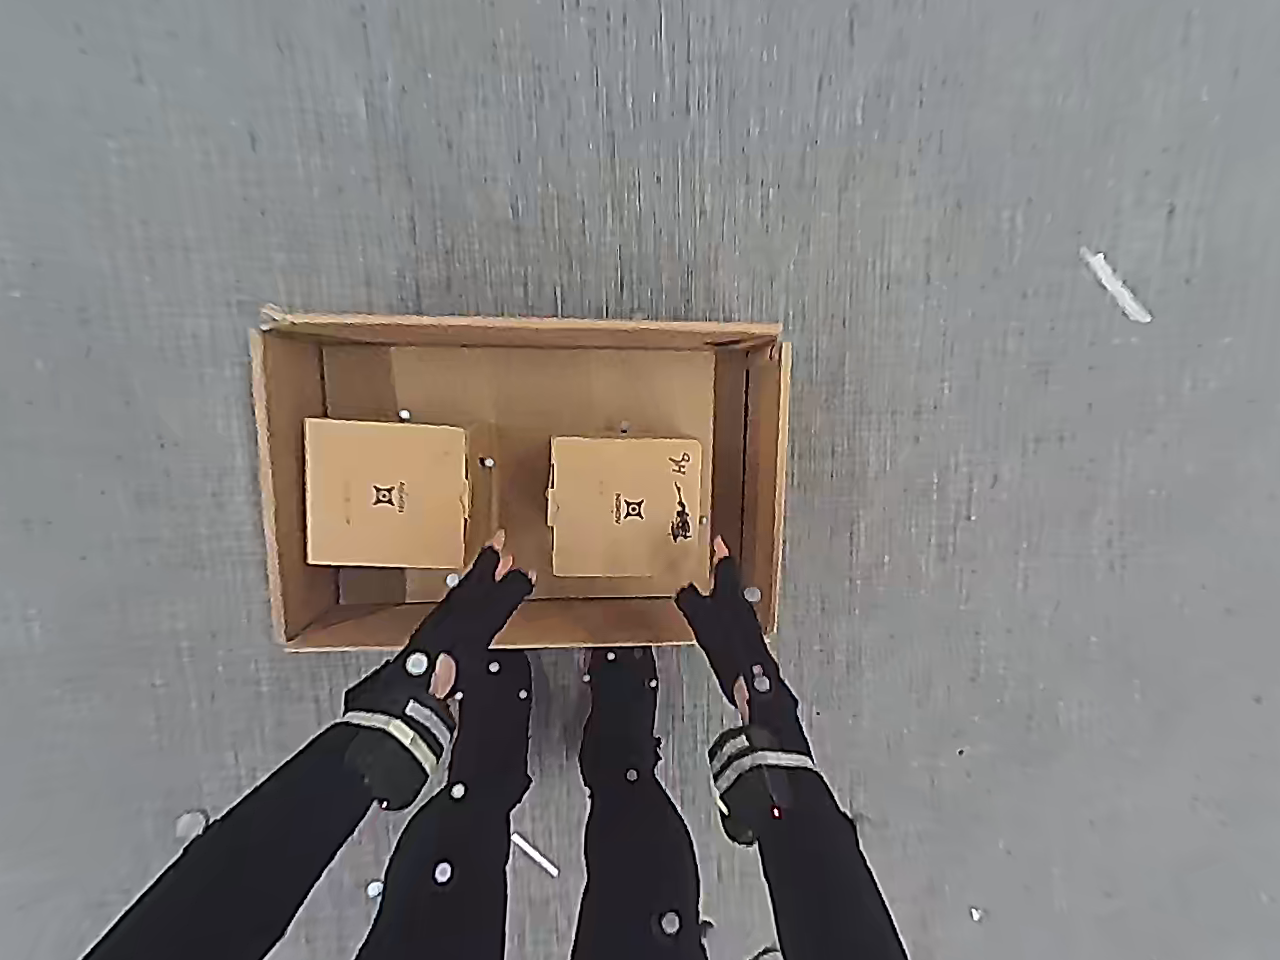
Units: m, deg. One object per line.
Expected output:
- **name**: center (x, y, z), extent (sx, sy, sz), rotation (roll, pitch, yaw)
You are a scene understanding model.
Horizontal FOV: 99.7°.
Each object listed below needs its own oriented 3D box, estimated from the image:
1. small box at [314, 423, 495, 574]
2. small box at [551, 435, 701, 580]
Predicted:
- **small box**: center (-0.286, 0.015, 0.693), extent (0.179, 0.176, 0.168), rotation (3, 96, -5)
- **small box**: center (-0.020, 0.028, 0.717), extent (0.179, 0.176, 0.168), rotation (1, 97, -3)
